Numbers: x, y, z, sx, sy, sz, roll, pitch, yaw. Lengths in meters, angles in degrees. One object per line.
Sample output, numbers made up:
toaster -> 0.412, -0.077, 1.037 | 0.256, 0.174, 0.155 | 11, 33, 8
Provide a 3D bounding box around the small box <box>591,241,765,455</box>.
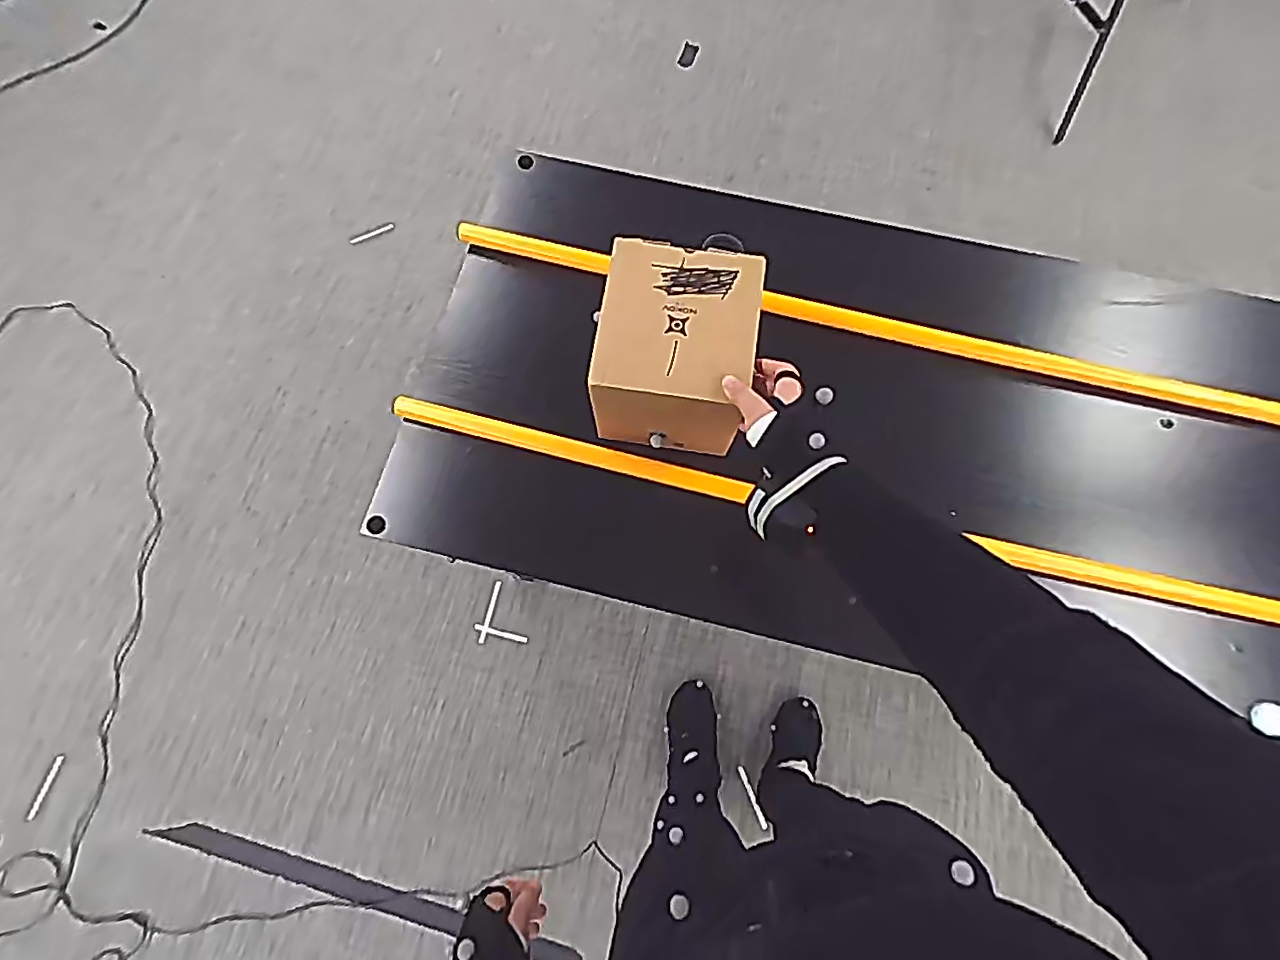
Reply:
small box -> 0.042, -0.146, 0.643 | 0.168, 0.176, 0.179 | 9, 76, 3
